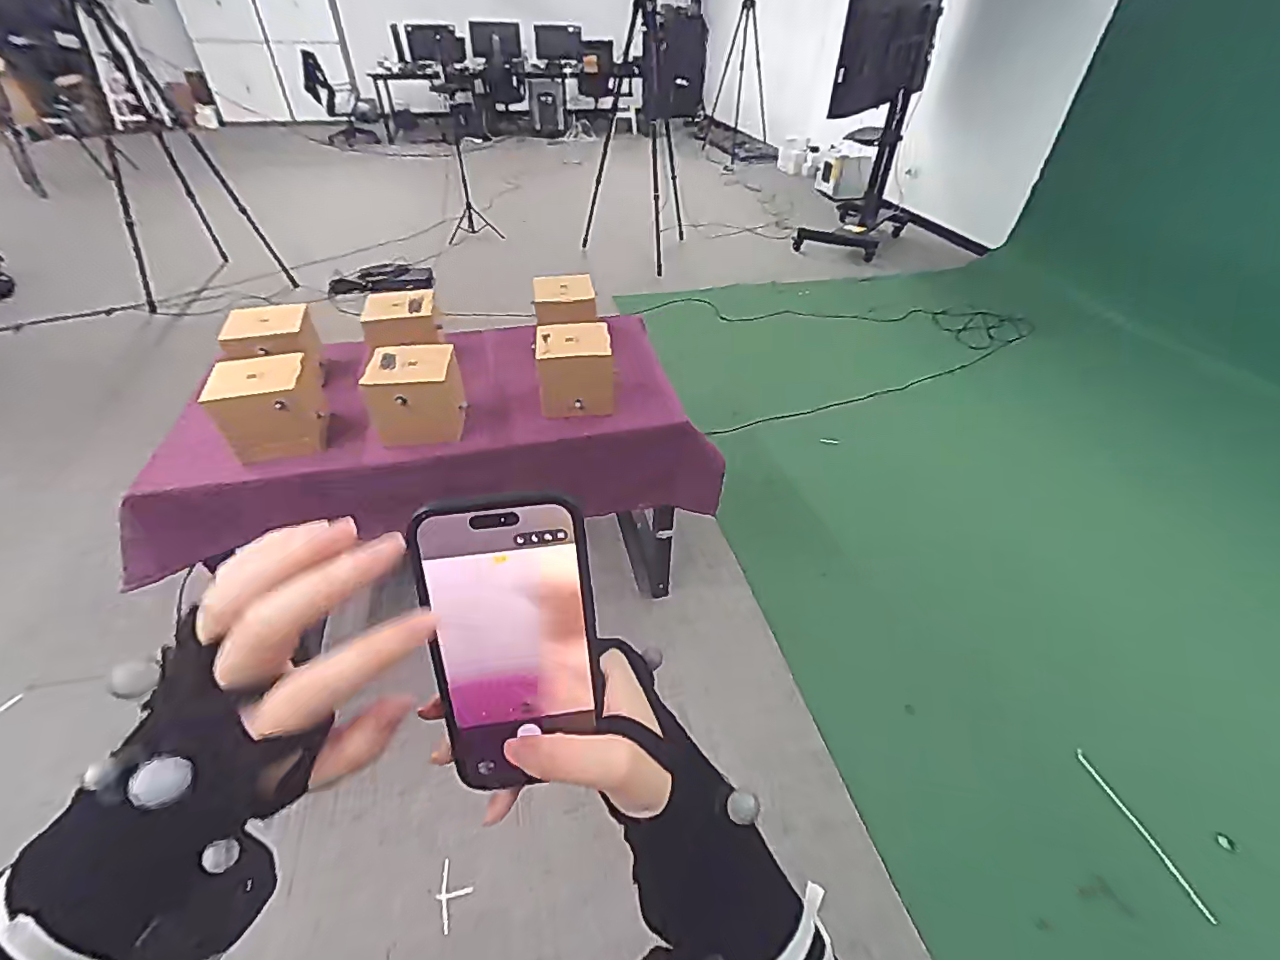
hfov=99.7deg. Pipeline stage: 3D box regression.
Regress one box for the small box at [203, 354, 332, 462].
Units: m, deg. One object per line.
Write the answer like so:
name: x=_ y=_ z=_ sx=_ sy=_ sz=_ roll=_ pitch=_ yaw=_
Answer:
small box: x=-0.817 y=-0.159 z=1.204 sx=0.179 sy=0.176 sz=0.168 roll=-11 pitch=43 yaw=-16

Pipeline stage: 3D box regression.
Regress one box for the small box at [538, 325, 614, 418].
small box: x=-0.157 y=-0.269 z=1.344 sx=0.179 sy=0.176 sz=0.168 roll=-3 pitch=42 yaw=-6

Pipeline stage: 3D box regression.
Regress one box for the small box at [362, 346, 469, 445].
small box: x=-0.509 y=-0.194 z=1.251 sx=0.179 sy=0.176 sz=0.168 roll=-4 pitch=42 yaw=-7

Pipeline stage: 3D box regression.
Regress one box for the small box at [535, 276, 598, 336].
small box: x=-0.213 y=-0.475 z=1.573 sx=0.168 sy=0.176 sz=0.179 roll=-6 pitch=43 yaw=-8
